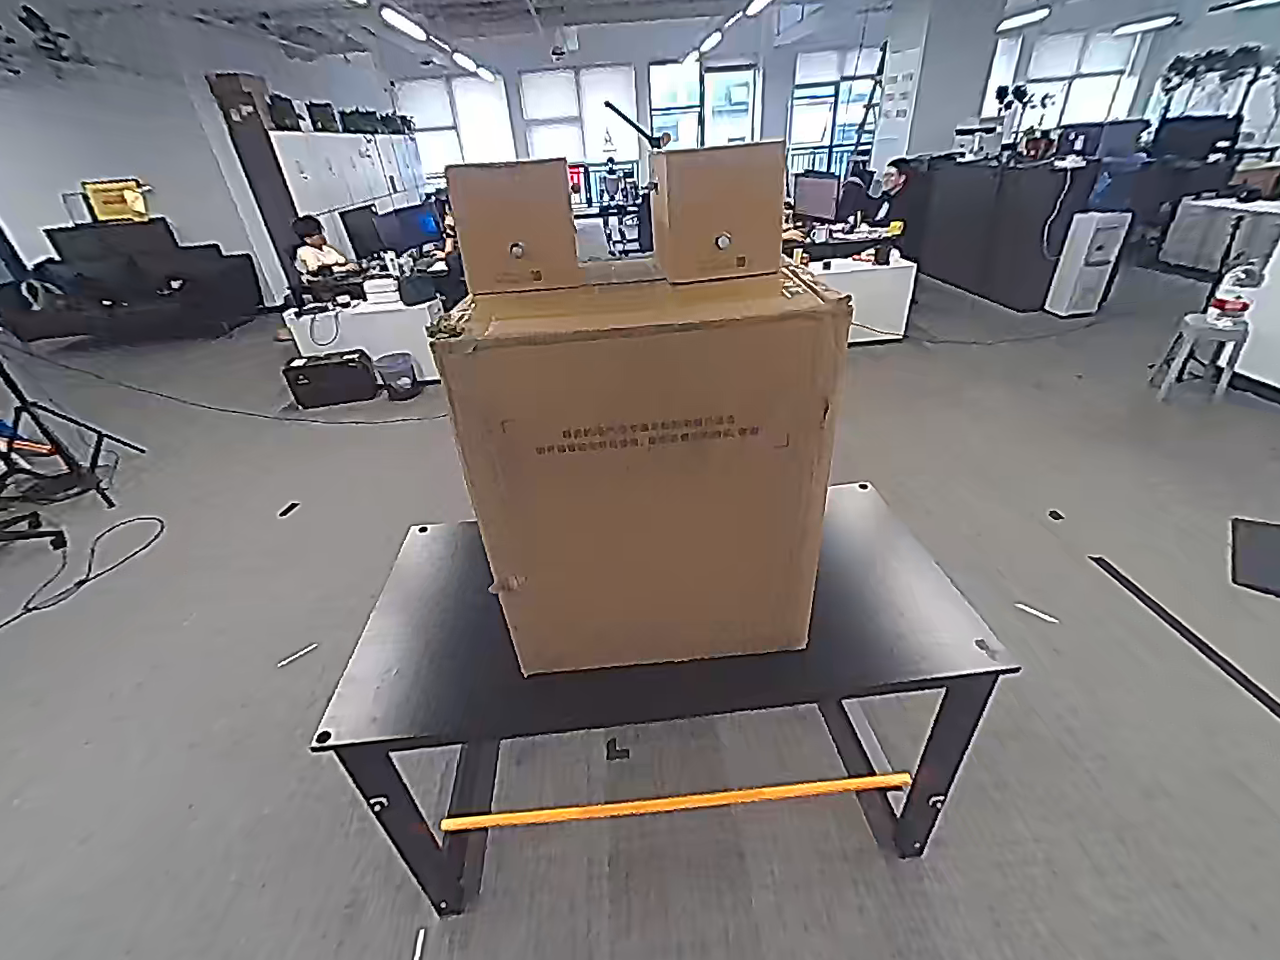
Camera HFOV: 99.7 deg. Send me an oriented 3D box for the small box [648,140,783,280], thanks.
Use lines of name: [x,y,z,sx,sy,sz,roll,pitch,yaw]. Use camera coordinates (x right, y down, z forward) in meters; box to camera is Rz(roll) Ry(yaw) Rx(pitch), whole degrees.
small box: [0.105,-0.406,0.818,0.168,0.176,0.179,-8,31,-3]

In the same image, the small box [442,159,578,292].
small box: [-0.188,-0.394,0.837,0.168,0.176,0.179,-6,31,-4]
